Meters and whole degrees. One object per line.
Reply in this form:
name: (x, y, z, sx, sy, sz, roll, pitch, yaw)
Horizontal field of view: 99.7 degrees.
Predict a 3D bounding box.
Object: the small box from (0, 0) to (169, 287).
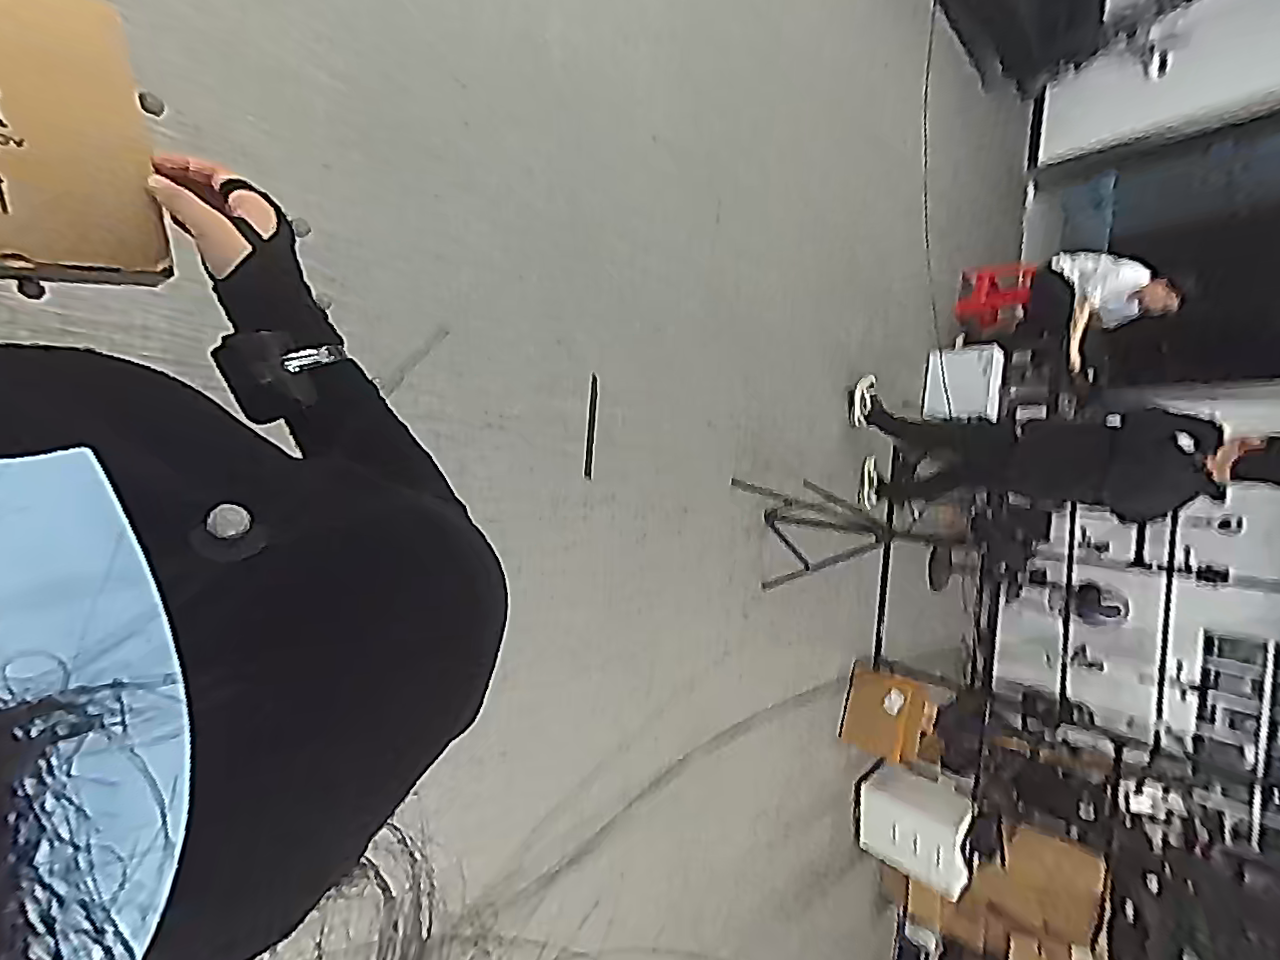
small box: (-0.471, -0.240, 0.386, 0.168, 0.176, 0.179, -15, 112, -43)
